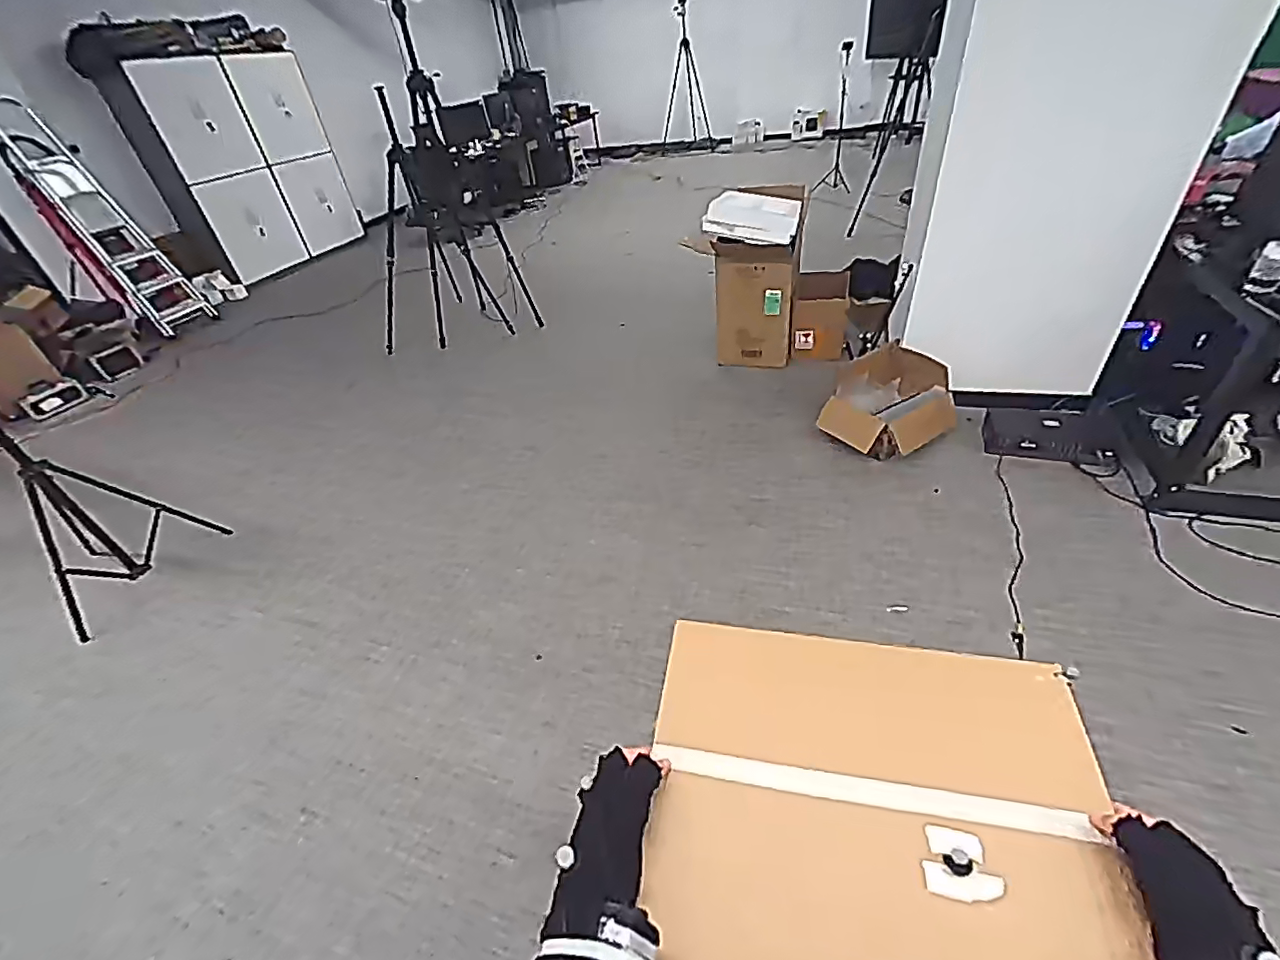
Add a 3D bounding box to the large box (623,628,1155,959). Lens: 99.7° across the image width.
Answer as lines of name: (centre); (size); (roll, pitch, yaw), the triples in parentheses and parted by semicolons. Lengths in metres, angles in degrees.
large box: (0.219, 0.398, 0.602); (0.408, 0.320, 0.320); (3, 44, 13)
